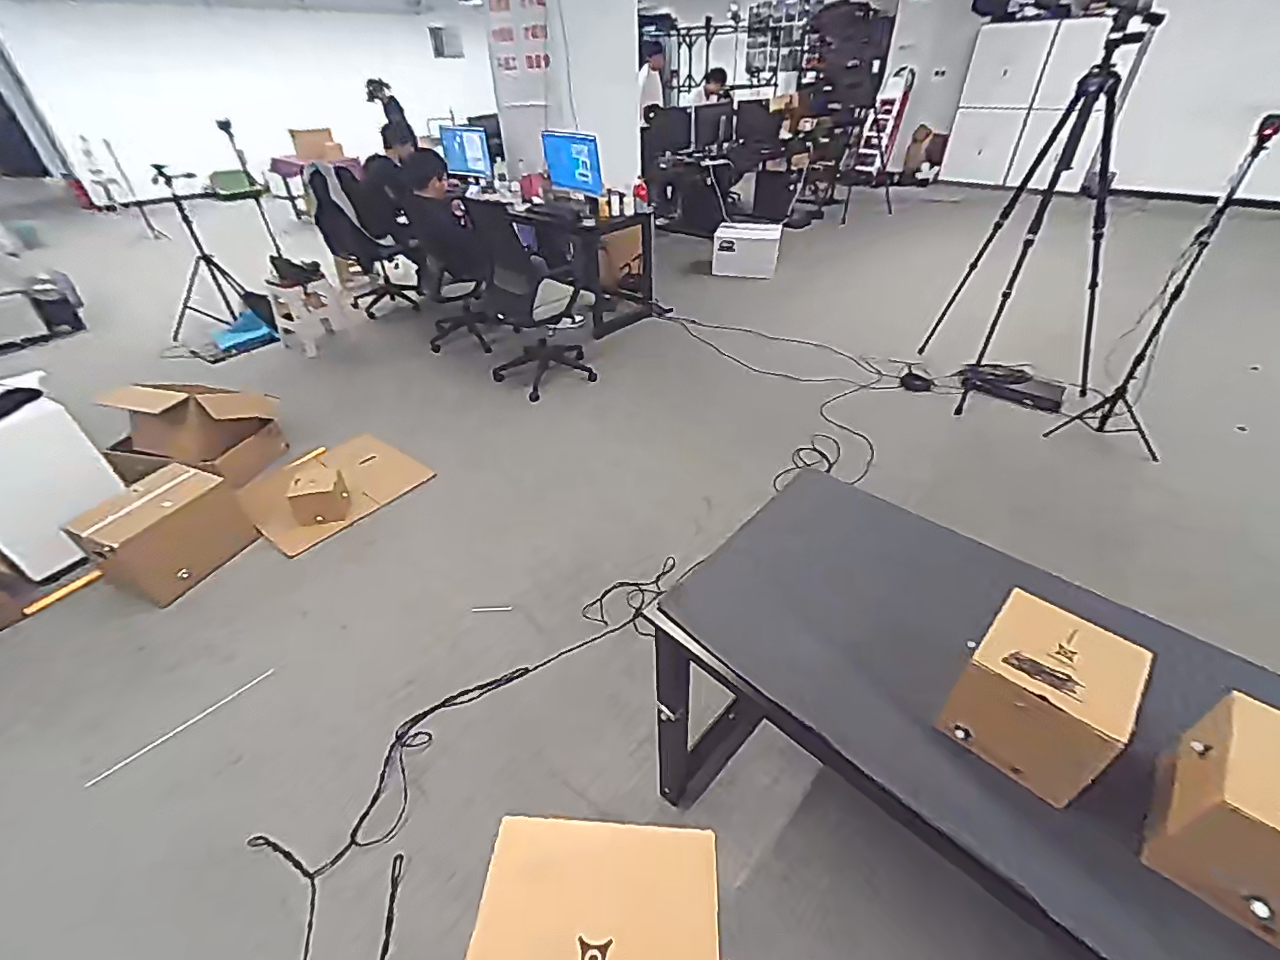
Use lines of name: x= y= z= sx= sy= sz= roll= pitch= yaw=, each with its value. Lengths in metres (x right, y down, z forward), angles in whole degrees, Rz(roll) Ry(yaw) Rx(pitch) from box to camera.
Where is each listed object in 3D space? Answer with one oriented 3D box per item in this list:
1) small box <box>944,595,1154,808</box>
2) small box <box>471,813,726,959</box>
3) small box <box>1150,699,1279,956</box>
small box: x=0.549 y=0.301 z=0.745 sx=0.179 sy=0.176 sz=0.168 roll=-30 pitch=45 yaw=-34
small box: x=-0.029 y=0.375 z=0.386 sx=0.168 sy=0.176 sz=0.179 roll=3 pitch=34 yaw=2
small box: x=0.723 y=0.396 z=0.606 sx=0.168 sy=0.176 sz=0.179 roll=28 pitch=46 yaw=35
